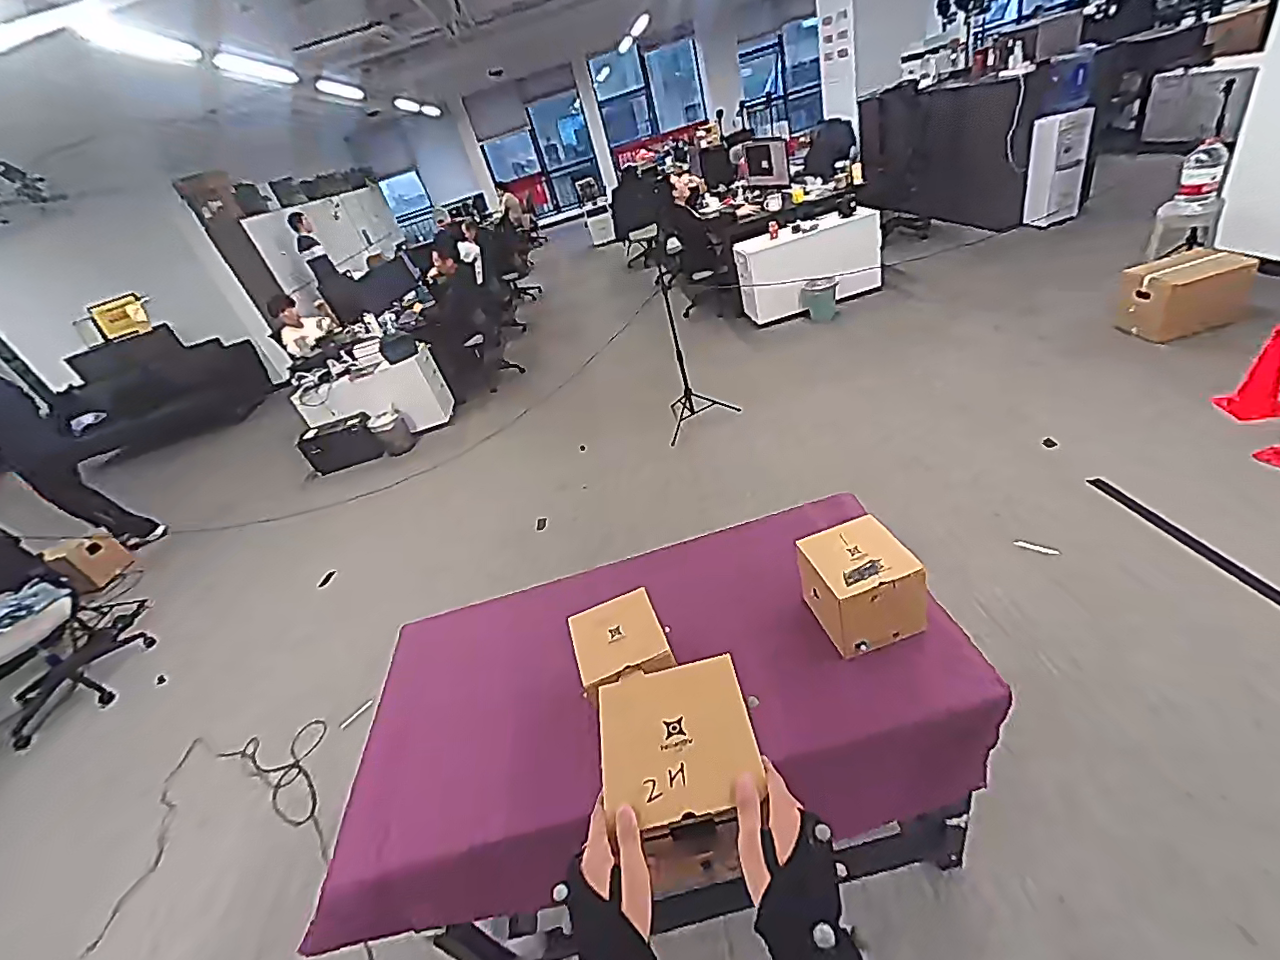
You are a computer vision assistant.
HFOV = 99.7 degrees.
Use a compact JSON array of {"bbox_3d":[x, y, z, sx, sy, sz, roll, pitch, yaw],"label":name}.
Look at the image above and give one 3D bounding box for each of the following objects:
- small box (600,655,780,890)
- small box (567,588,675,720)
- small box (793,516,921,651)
[{"bbox_3d":[0.056,0.341,0.634,0.168,0.176,0.179,-15,39,3],"label":"small box"},{"bbox_3d":[-0.026,0.350,1.048,0.168,0.176,0.179,-21,33,-5],"label":"small box"},{"bbox_3d":[0.418,0.204,1.046,0.168,0.176,0.179,-20,32,-2],"label":"small box"}]
